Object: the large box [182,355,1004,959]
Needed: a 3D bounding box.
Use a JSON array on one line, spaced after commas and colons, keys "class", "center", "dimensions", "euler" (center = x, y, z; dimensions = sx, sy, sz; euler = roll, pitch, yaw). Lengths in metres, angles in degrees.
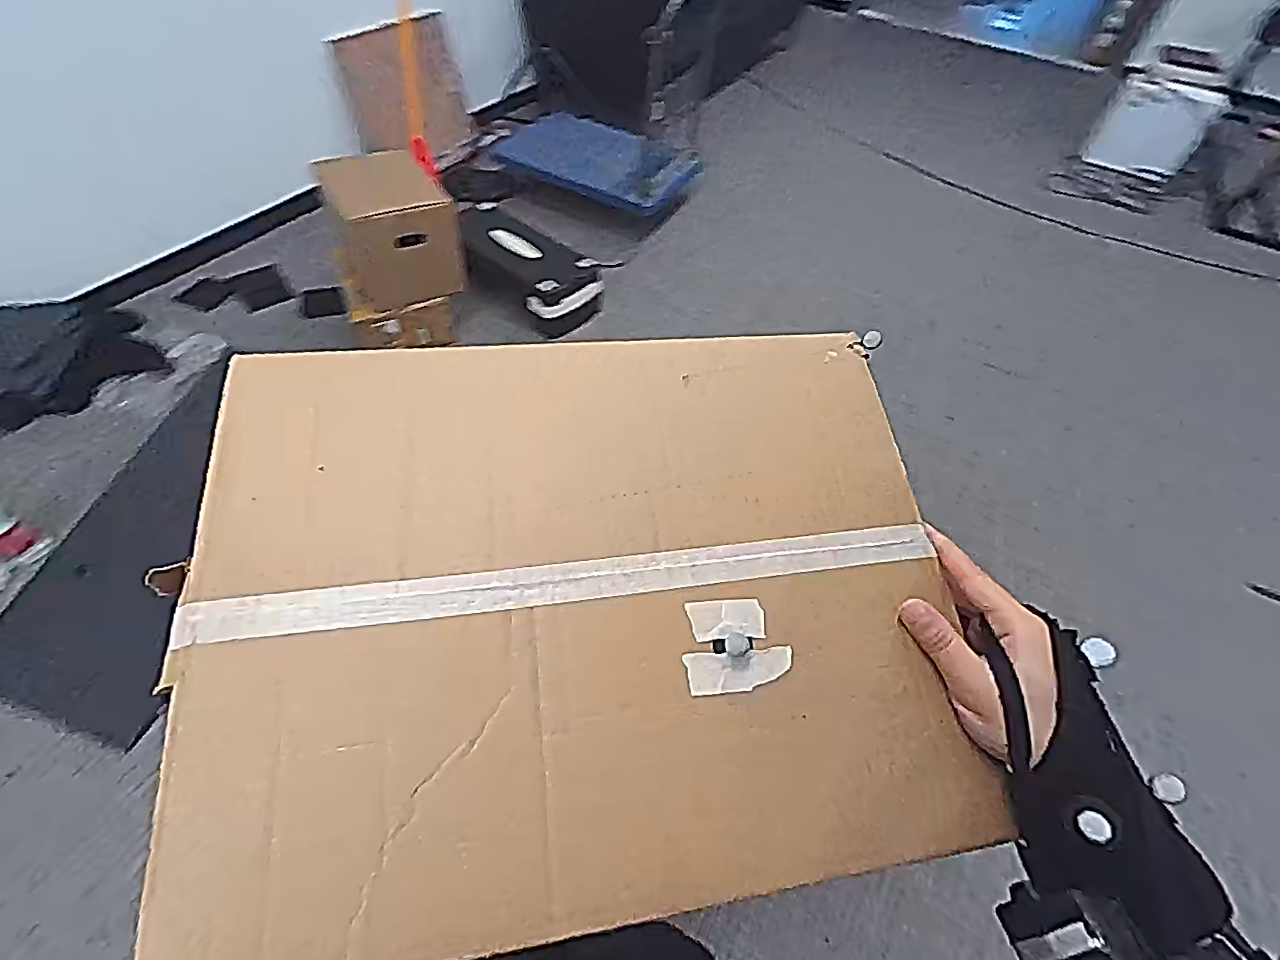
[{"class": "large box", "center": [-0.037, 0.119, 0.446], "dimensions": [0.408, 0.320, 0.320], "euler": [-3, 69, -10]}]
